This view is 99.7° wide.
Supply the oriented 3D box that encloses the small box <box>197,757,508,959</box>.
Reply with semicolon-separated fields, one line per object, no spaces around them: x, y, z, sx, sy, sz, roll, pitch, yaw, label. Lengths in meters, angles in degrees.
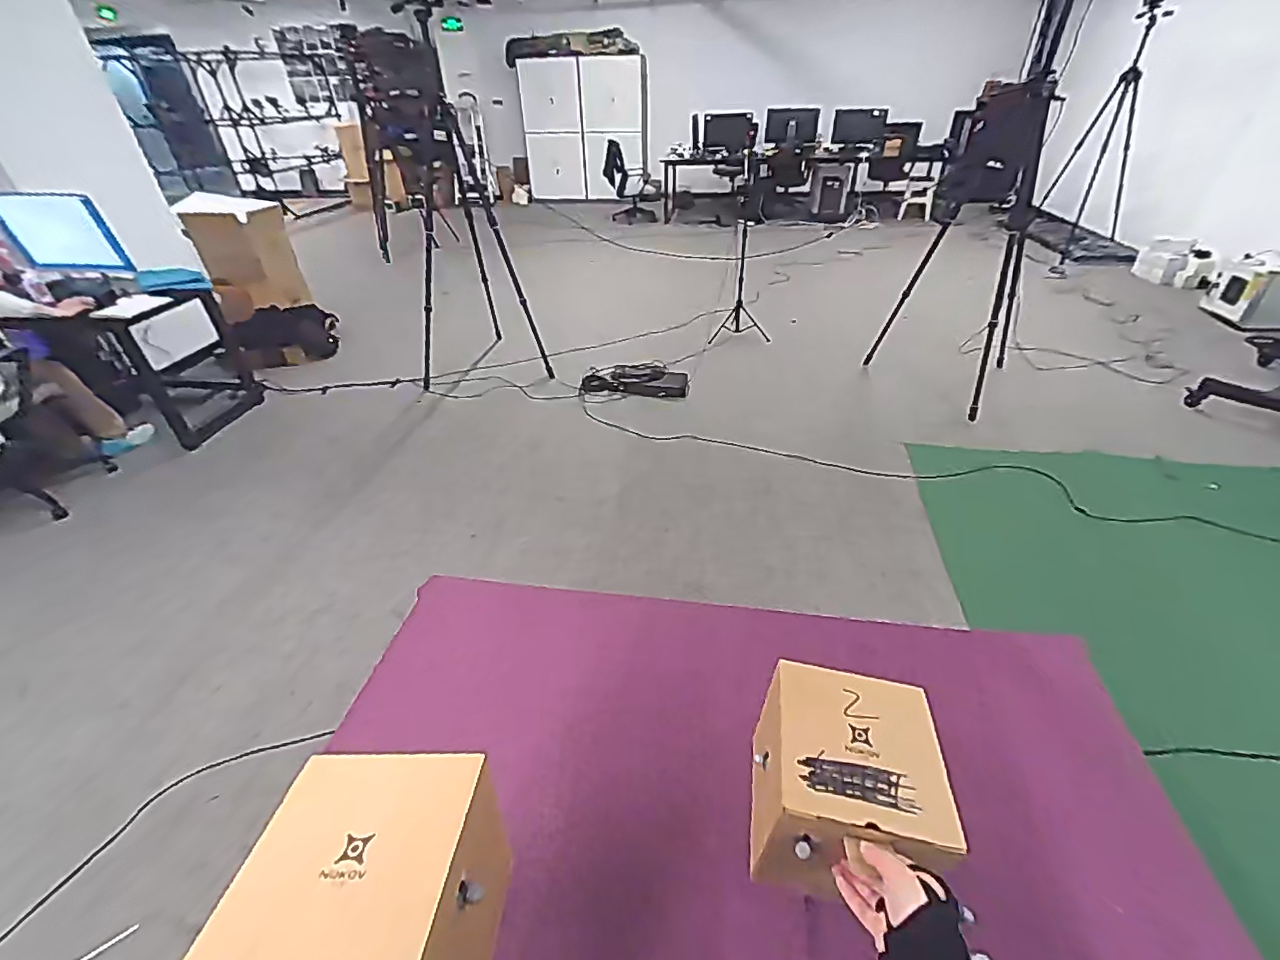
-0.221;0.373;0.469;0.168;0.176;0.179;-2;27;3;small box
